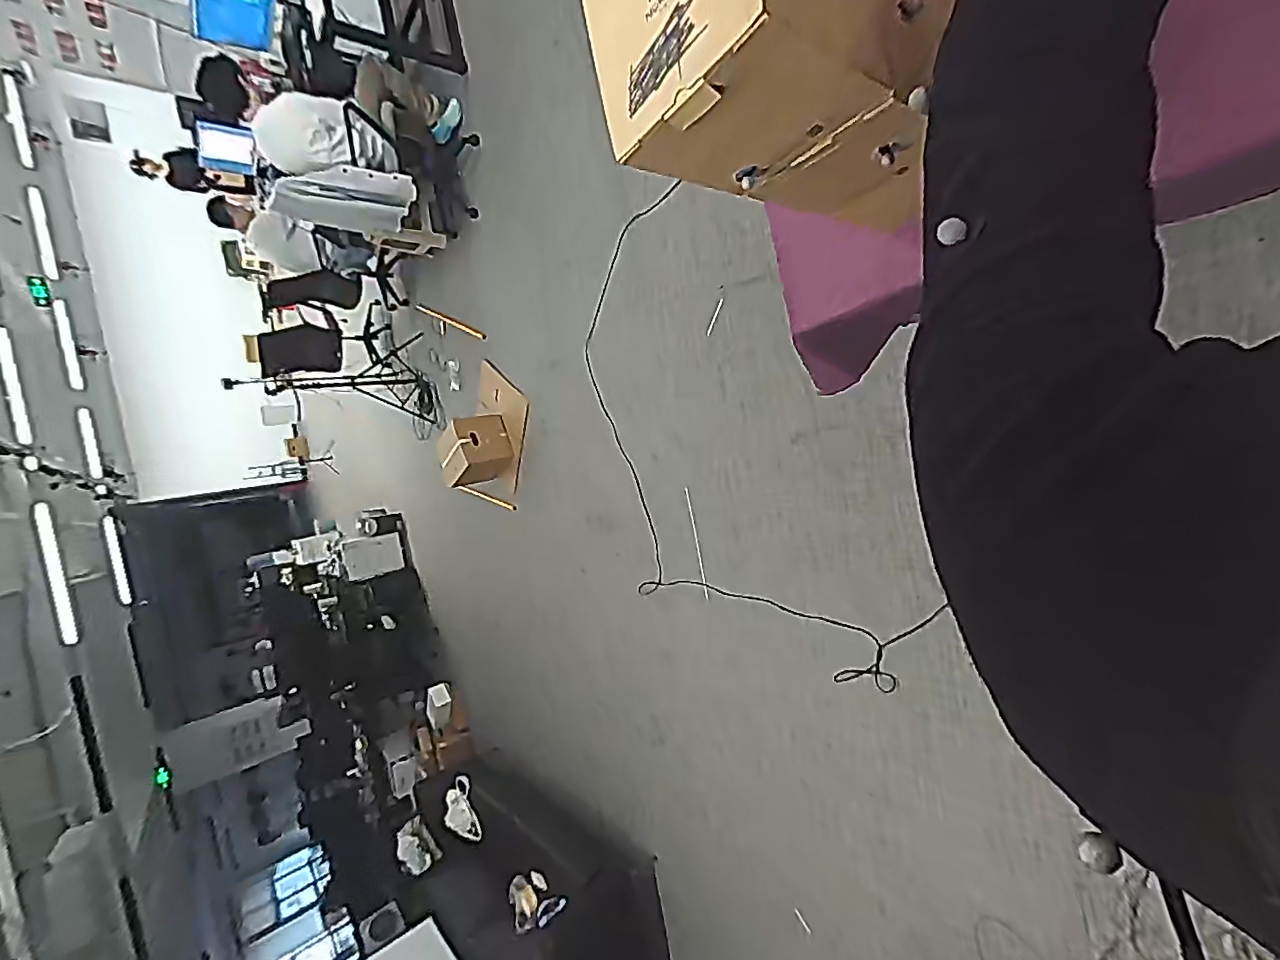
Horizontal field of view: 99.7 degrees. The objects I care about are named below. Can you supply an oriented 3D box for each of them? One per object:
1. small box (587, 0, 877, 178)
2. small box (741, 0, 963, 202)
[{"bbox_3d":[0.077,-0.387,0.462,0.168,0.176,0.179,-11,89,51],"label":"small box"},{"bbox_3d":[0.209,-0.410,0.558,0.168,0.176,0.179,-6,94,51],"label":"small box"}]
